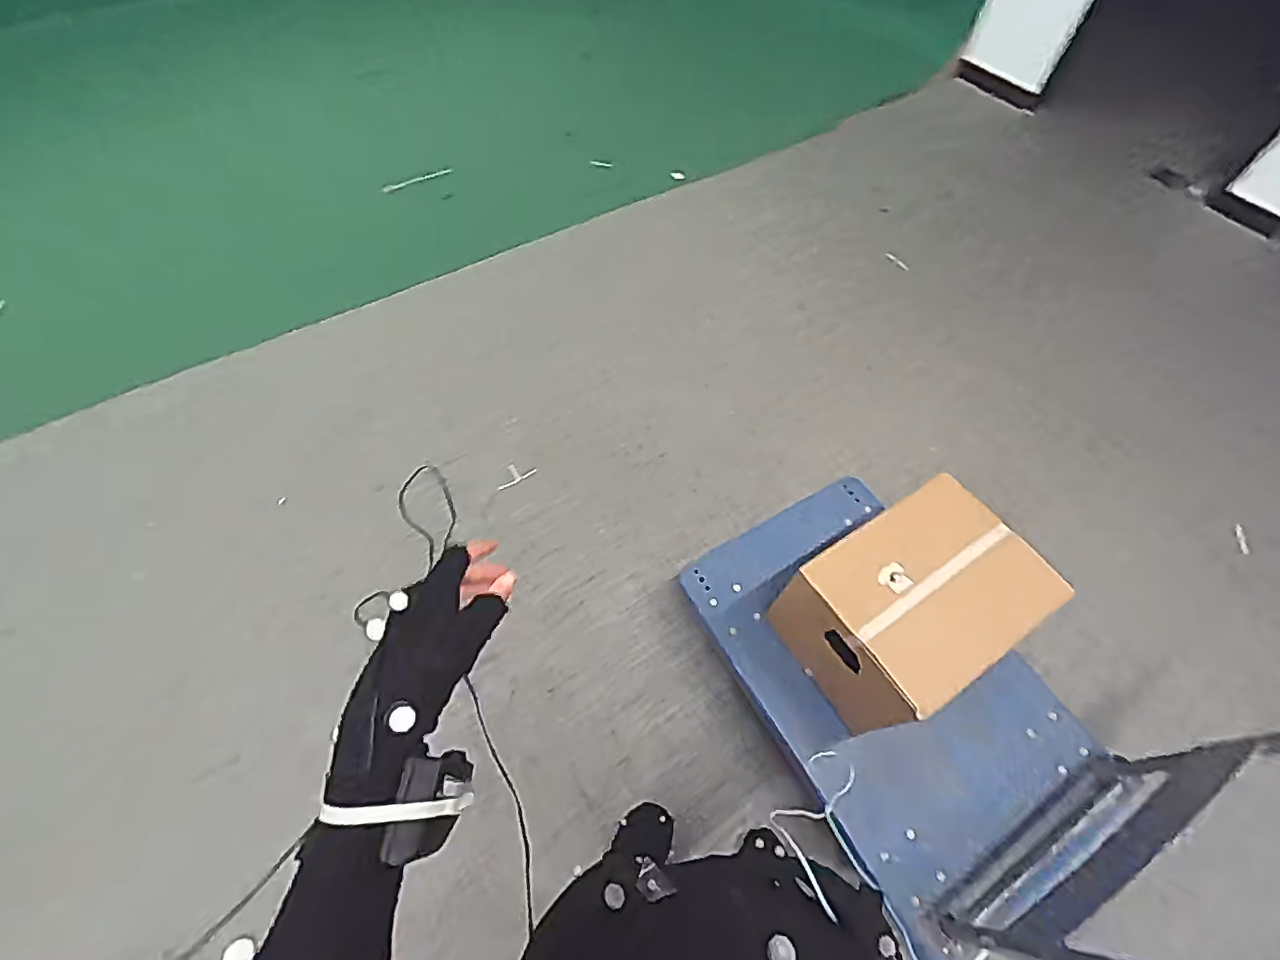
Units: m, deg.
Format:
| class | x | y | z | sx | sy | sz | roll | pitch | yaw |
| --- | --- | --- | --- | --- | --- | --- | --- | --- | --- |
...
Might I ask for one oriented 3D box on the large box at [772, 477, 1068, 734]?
| class | x | y | z | sx | sy | sz | roll | pitch | yaw |
| --- | --- | --- | --- | --- | --- | --- | --- | --- | --- |
| large box | 0.553 | 0.269 | 1.138 | 0.408 | 0.320 | 0.320 | -30 | 64 | -16 |
